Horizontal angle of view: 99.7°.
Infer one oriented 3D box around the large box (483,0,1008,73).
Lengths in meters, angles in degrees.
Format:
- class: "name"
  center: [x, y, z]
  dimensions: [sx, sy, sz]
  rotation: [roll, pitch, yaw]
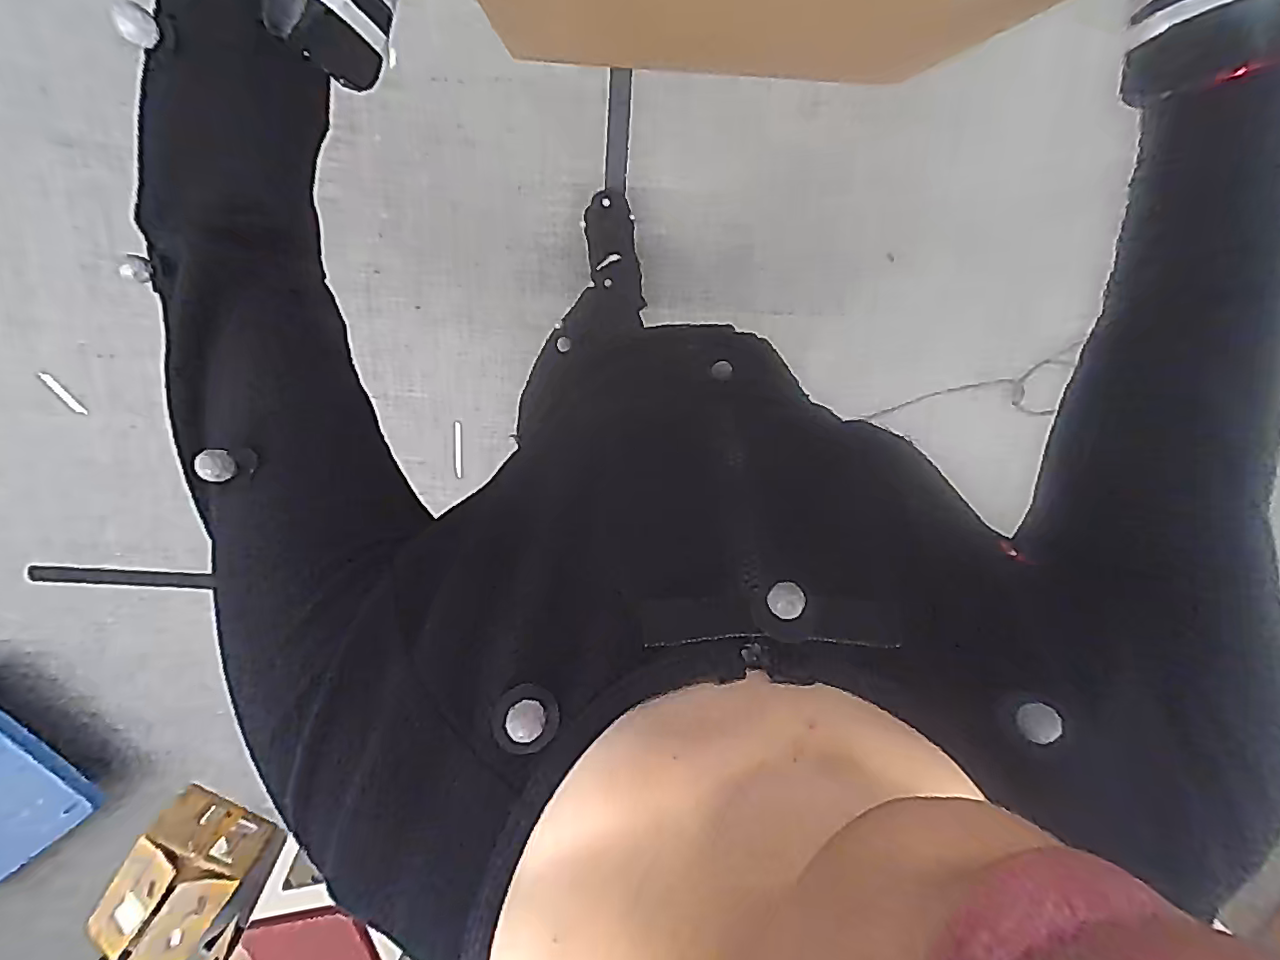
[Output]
- class: "large box"
  center: [0.077, -0.501, 0.357]
  dimensions: [0.408, 0.320, 0.320]
  rotation: [1, 115, -3]
